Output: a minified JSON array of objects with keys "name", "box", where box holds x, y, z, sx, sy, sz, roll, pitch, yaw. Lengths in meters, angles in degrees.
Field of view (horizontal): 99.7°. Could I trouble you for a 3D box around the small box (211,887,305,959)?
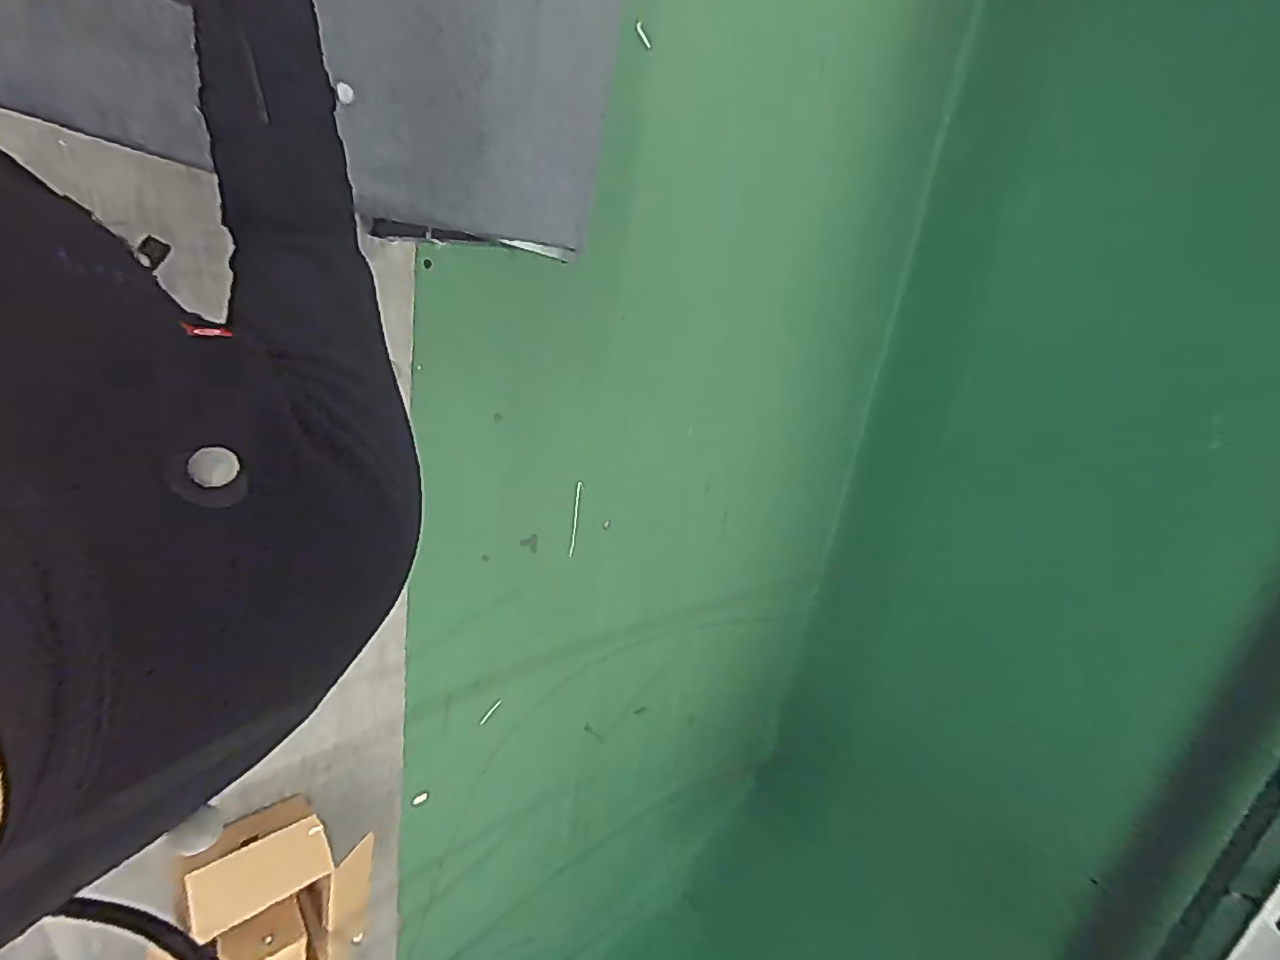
[{"name":"small box","box":[-1.004,1.234,1.416,0.179,0.176,0.168,-3,111,-47]}]
